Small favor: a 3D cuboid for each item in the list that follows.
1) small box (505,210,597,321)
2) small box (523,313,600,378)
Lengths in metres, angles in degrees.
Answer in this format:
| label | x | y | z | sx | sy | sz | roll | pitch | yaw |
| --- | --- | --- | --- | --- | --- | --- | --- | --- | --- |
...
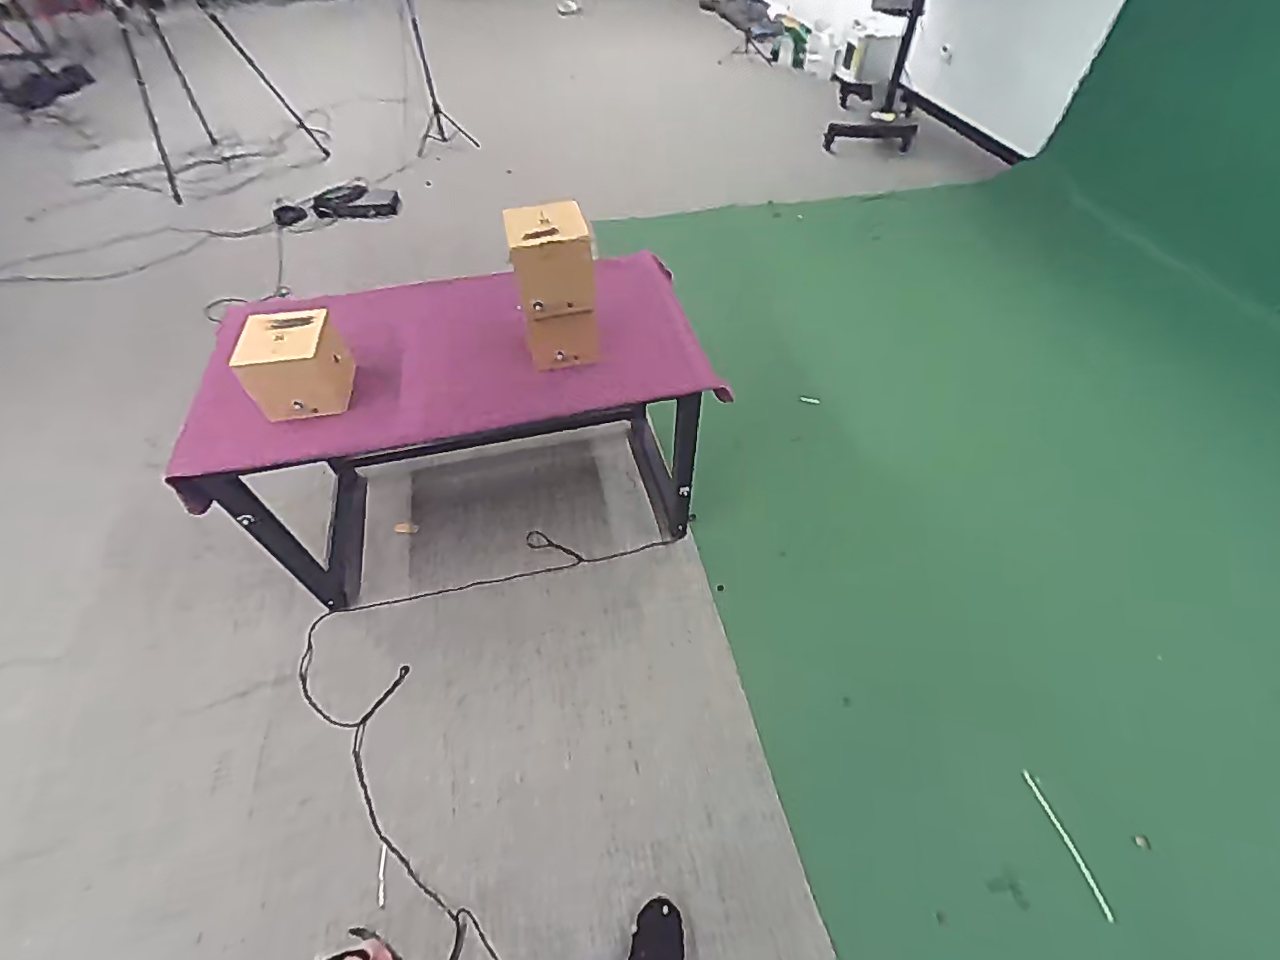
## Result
| label | x | y | z | sx | sy | sz | roll | pitch | yaw |
| --- | --- | --- | --- | --- | --- | --- | --- | --- | --- |
| small box | -0.195 | -0.468 | 1.199 | 0.168 | 0.176 | 0.179 | -11 | 50 | -7 |
| small box | -0.196 | -0.379 | 1.338 | 0.168 | 0.176 | 0.179 | -10 | 51 | -6 |
